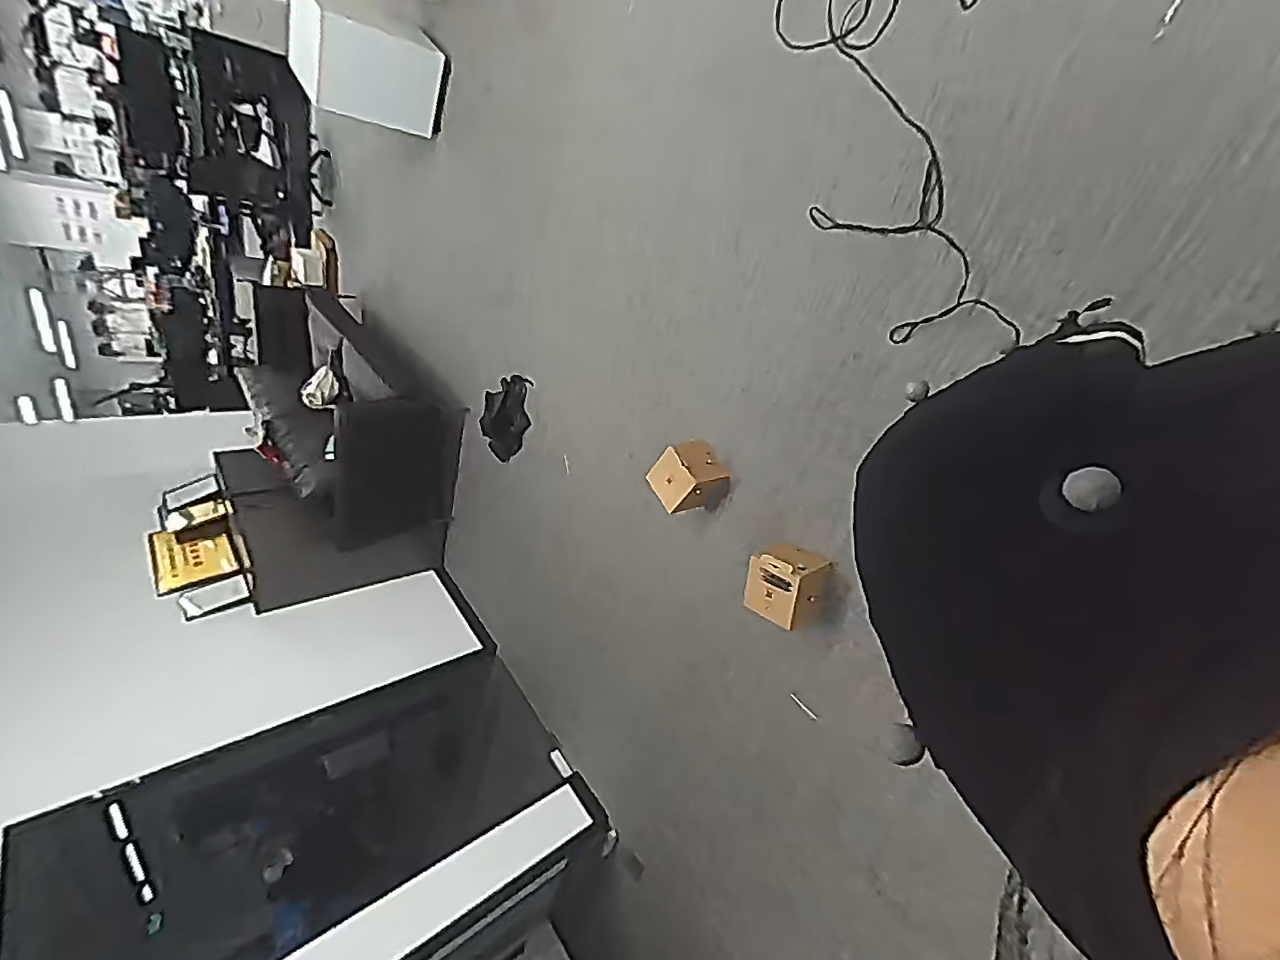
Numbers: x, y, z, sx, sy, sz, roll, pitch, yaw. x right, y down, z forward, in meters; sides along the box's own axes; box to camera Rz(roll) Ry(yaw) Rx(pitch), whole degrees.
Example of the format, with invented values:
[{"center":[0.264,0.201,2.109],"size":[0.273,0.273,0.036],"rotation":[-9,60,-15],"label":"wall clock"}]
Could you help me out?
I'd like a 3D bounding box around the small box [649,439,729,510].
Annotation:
[{"center":[0.169,-0.021,1.831],"size":[0.168,0.176,0.179],"rotation":[58,134,23],"label":"small box"}]
